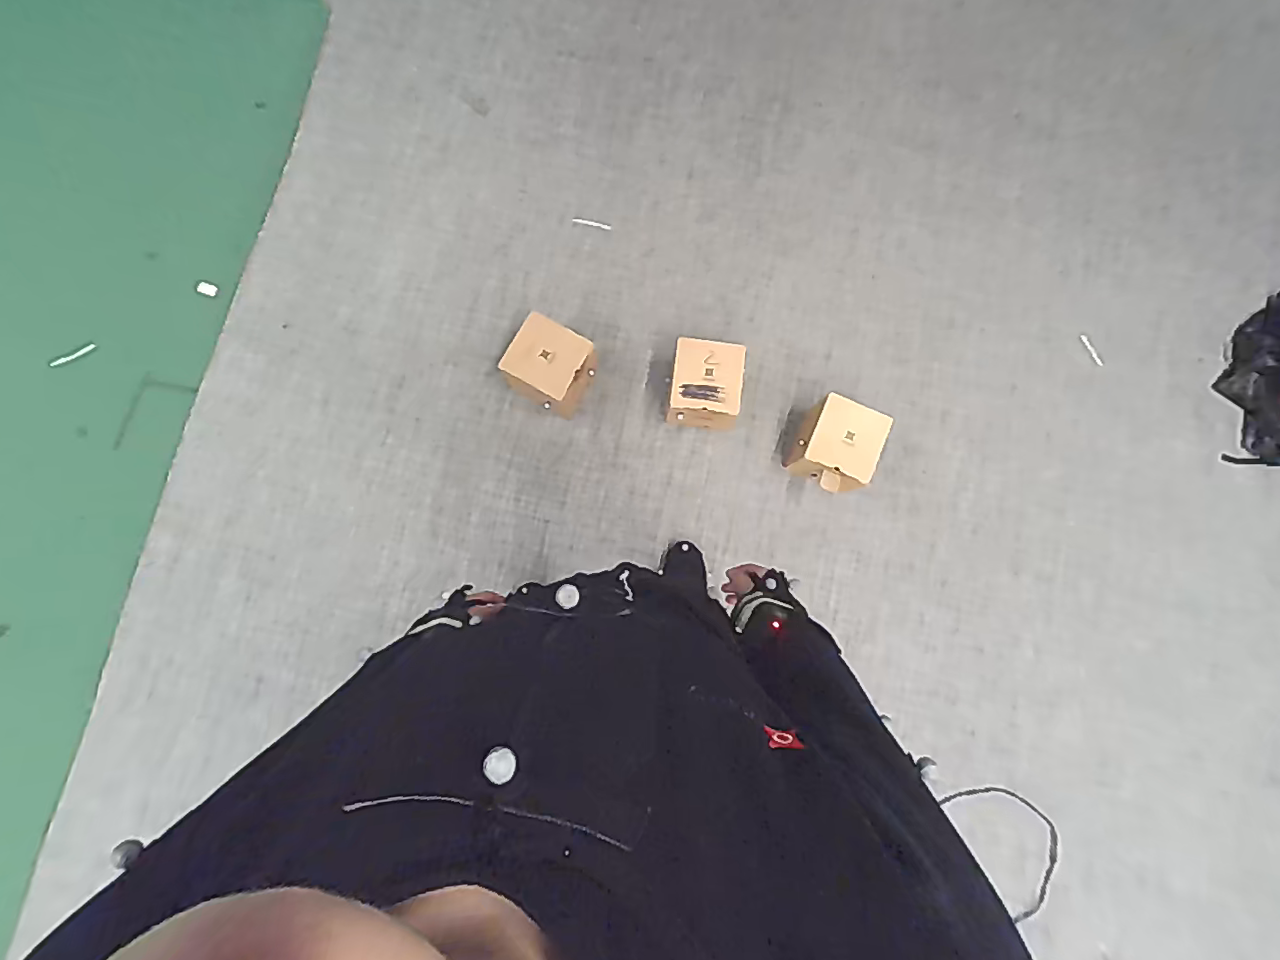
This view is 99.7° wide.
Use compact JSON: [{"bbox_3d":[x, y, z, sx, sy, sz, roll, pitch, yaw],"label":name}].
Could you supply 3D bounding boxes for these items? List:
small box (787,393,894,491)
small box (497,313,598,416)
[{"bbox_3d":[0.484,-0.086,1.333,0.168,0.176,0.179,23,83,1],"label":"small box"},{"bbox_3d":[-0.218,-0.274,1.333,0.179,0.176,0.168,27,82,6],"label":"small box"}]
